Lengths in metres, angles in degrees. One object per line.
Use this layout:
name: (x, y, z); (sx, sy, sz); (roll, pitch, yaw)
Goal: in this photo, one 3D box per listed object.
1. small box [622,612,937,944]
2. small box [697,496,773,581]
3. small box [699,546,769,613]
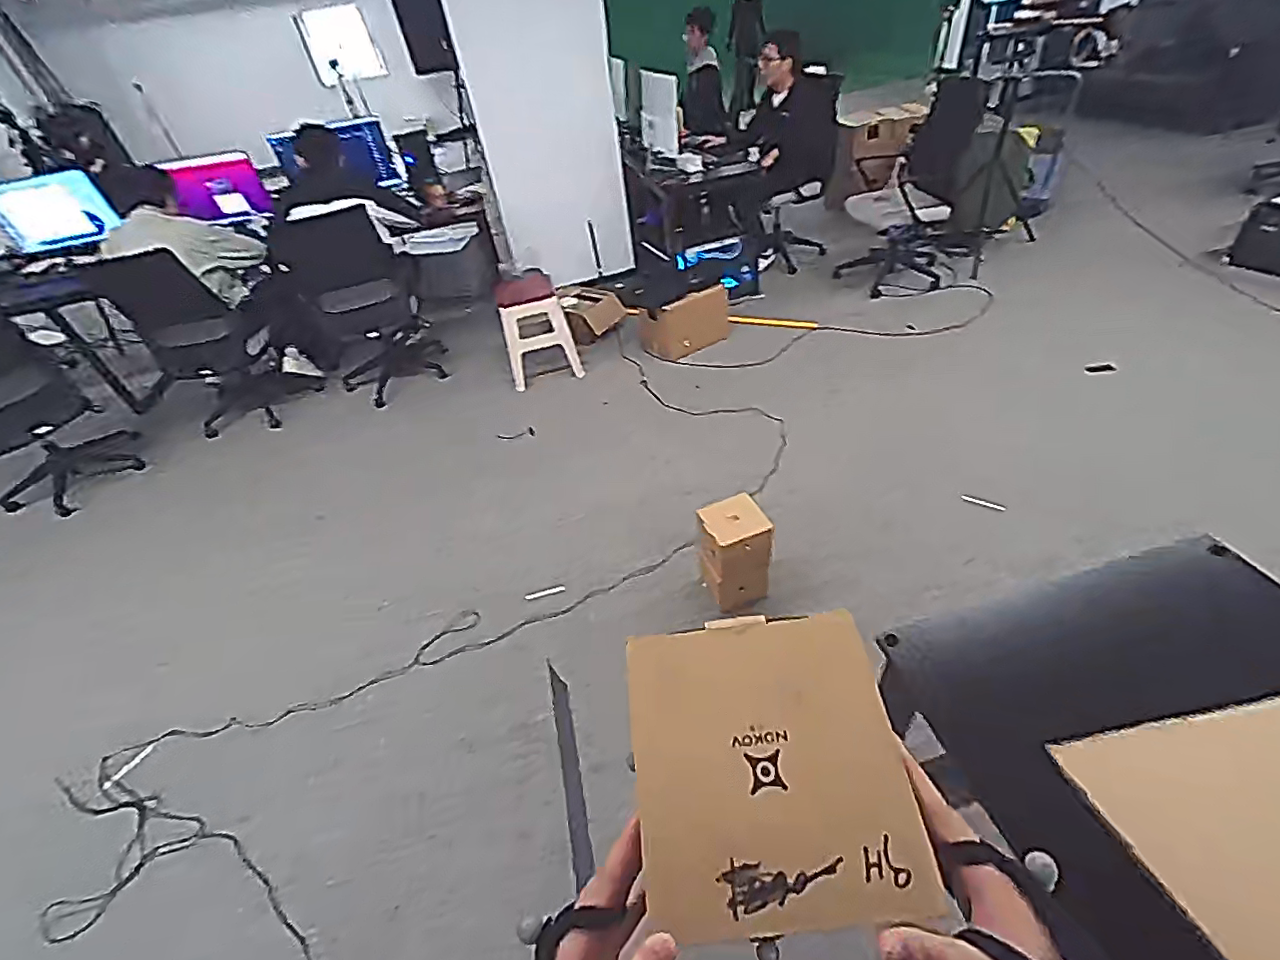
small box: (0.081, 0.222, 0.407); (0.168, 0.176, 0.179); (-8, 54, 2)
small box: (0.292, 0.183, 1.668); (0.179, 0.176, 0.168); (-19, 43, -12)
small box: (0.307, 0.306, 1.773); (0.179, 0.176, 0.168); (-18, 42, -8)
